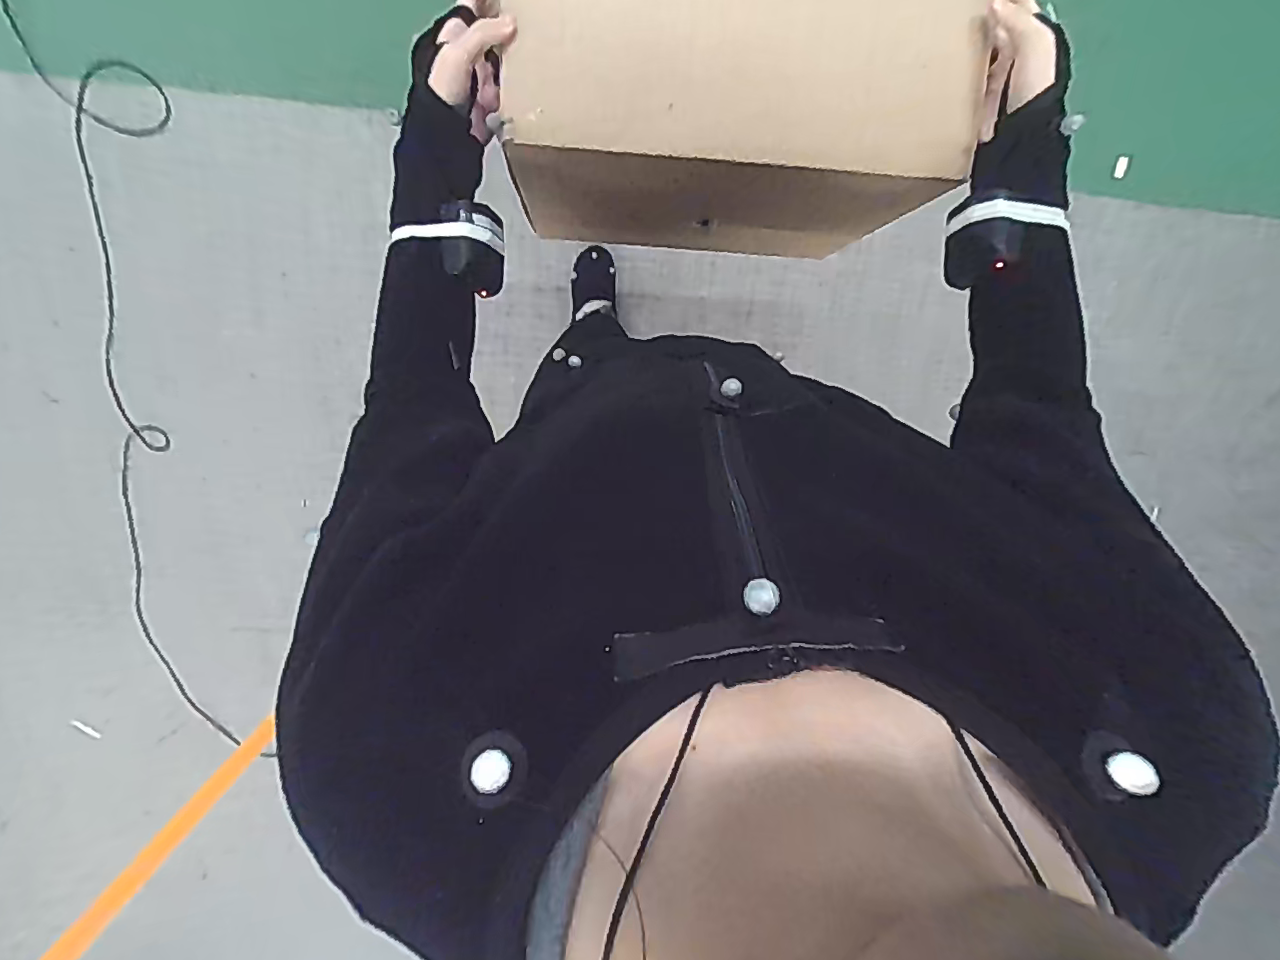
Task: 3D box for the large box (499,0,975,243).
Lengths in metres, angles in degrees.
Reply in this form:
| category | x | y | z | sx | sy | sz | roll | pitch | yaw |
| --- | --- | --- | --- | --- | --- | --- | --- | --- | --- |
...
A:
| category | x | y | z | sx | sy | sz | roll | pitch | yaw |
| --- | --- | --- | --- | --- | --- | --- | --- | --- | --- |
| large box | 0.078 | -0.456 | 0.582 | 0.408 | 0.320 | 0.320 | 2 | 100 | -5 |
